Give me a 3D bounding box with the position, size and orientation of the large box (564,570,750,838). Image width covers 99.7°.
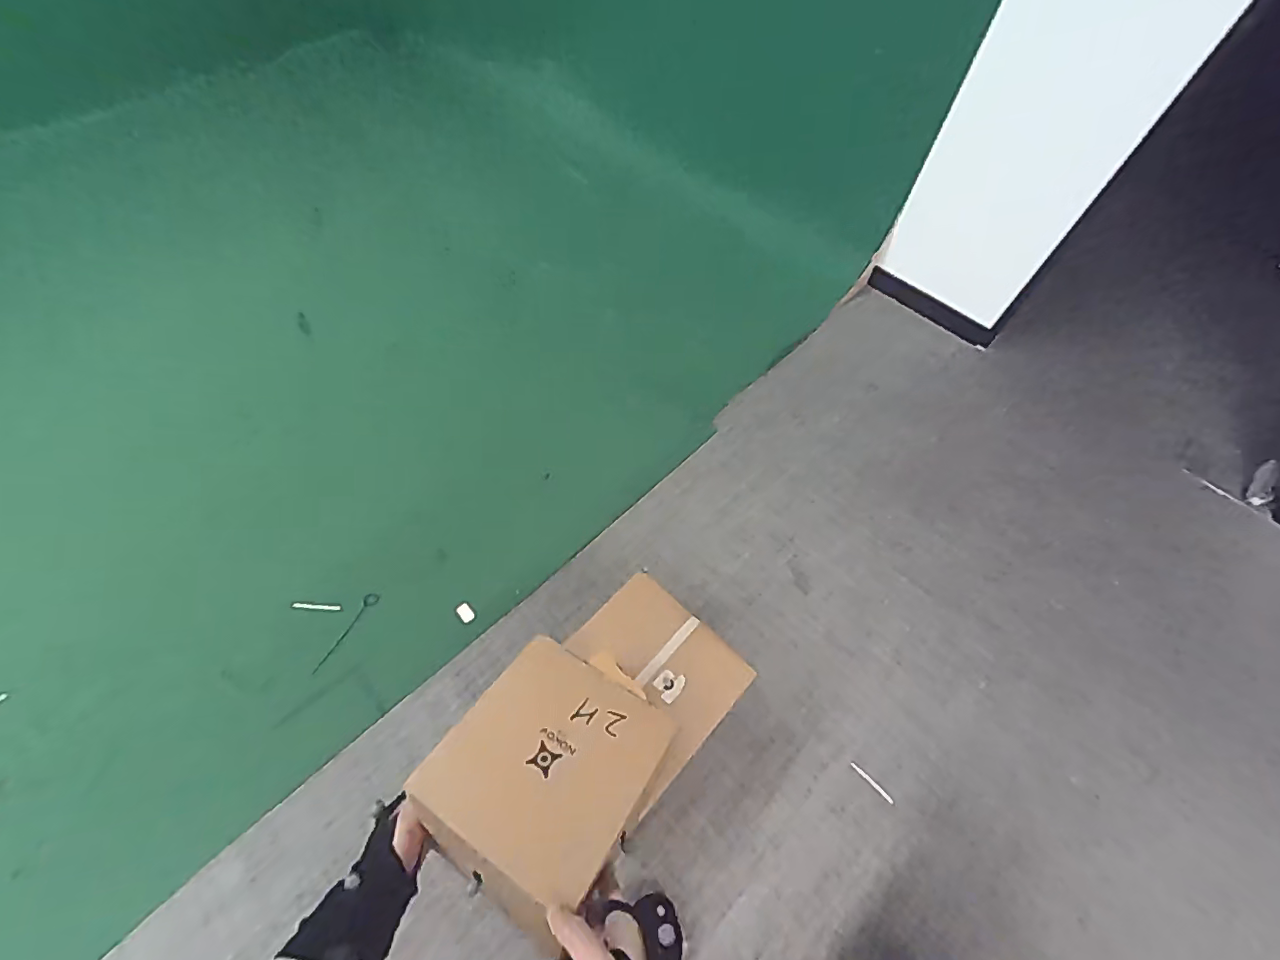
[{"bbox_3d":[-0.033,0.478,1.144,0.320,0.320,0.408,41,65,19],"label":"large box"}]

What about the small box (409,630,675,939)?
[{"bbox_3d":[-0.088,0.292,0.525,0.168,0.176,0.179,29,44,19],"label":"small box"}]
